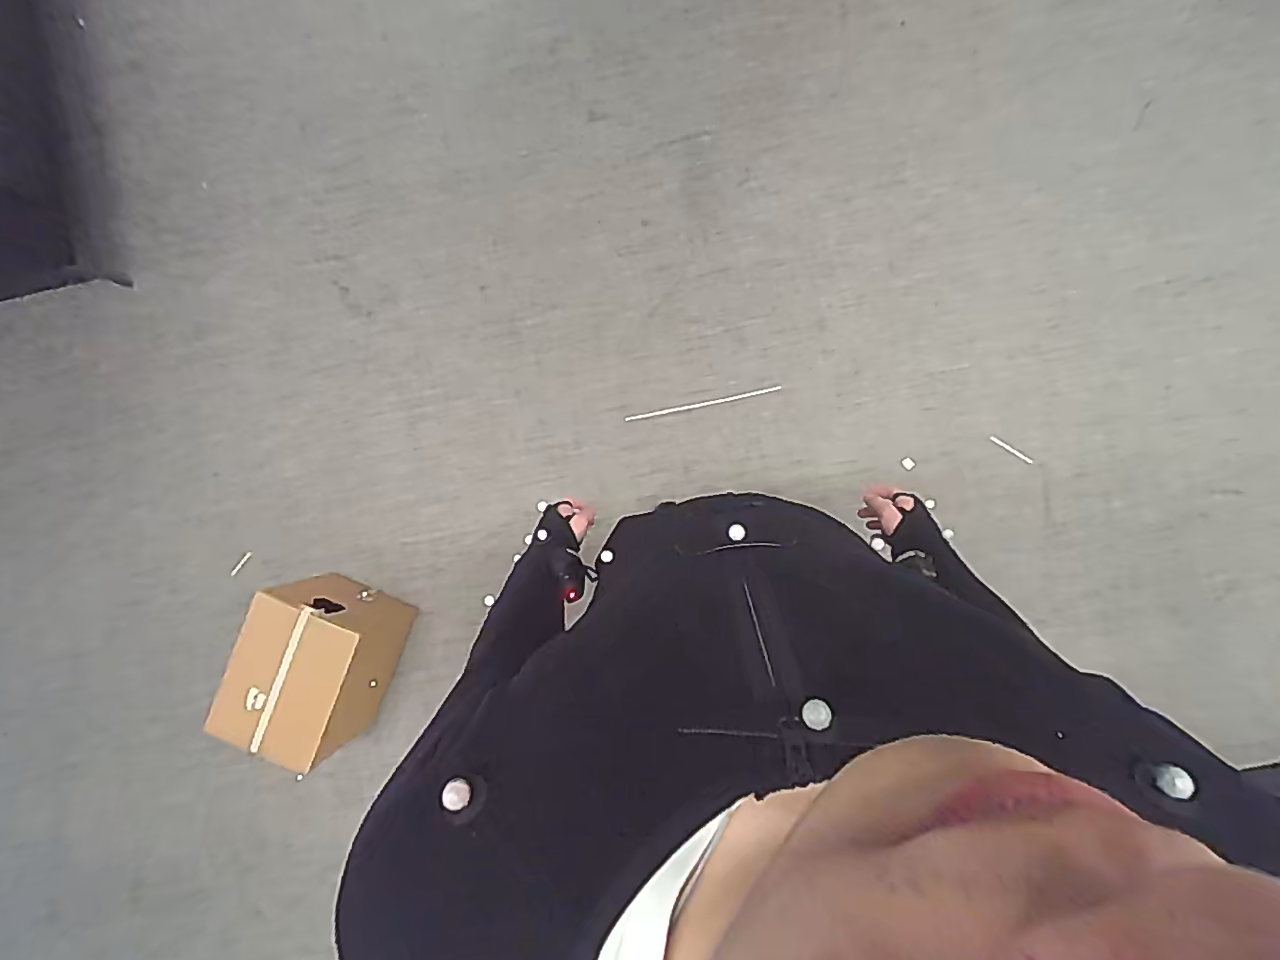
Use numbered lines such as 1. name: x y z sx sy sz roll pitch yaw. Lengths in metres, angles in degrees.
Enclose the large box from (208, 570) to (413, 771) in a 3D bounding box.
1. large box: -0.920 0.518 1.555 0.320 0.320 0.408 21 92 4
